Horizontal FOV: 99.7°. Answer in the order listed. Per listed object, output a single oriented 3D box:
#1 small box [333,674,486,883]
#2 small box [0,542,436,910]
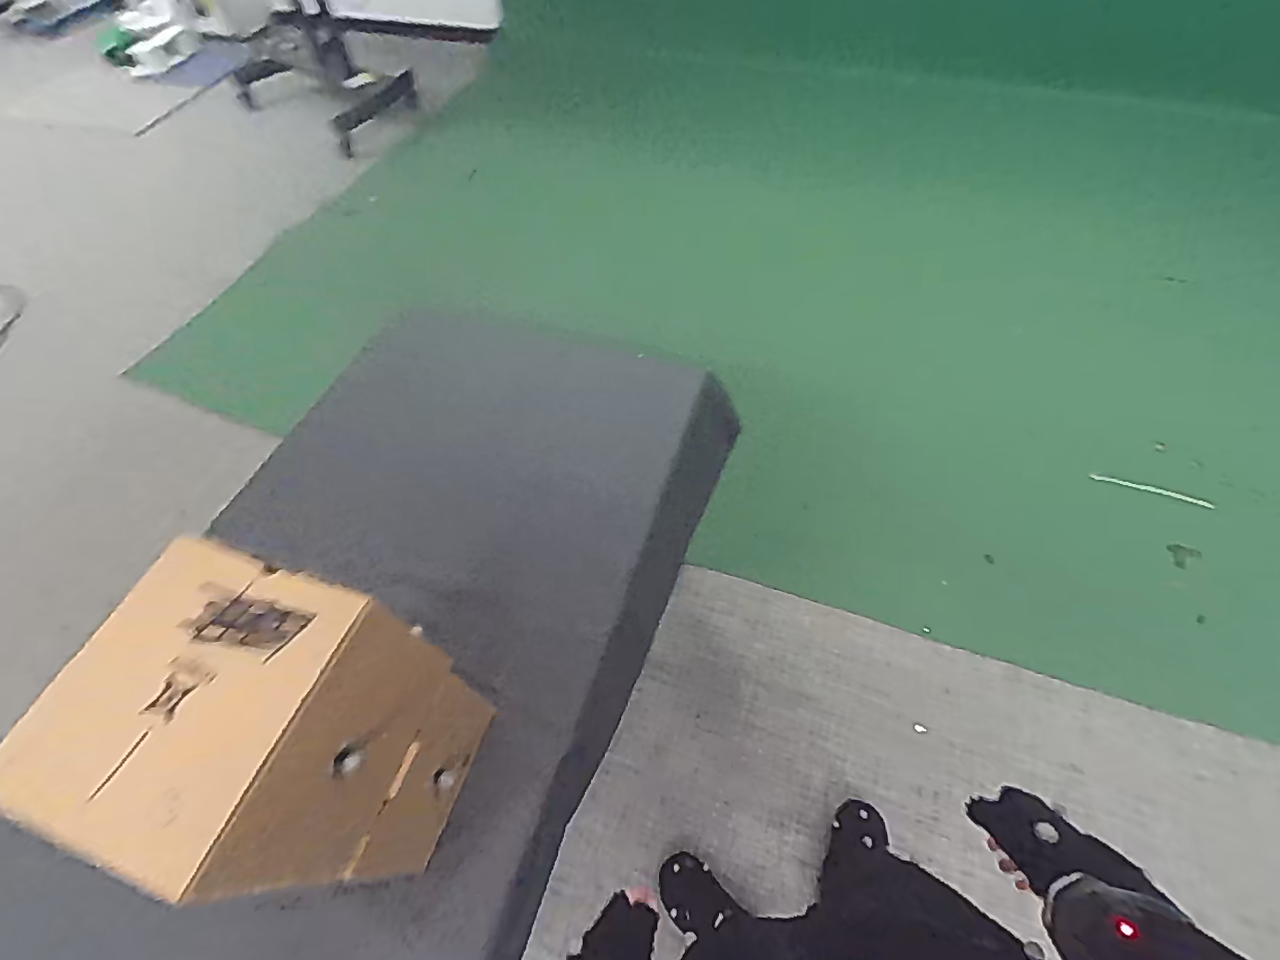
[{"bbox_3d":[-0.280,0.270,0.544,0.179,0.176,0.168,14,59,11],"label":"small box"},{"bbox_3d":[-0.281,0.177,0.408,0.168,0.176,0.179,15,60,12],"label":"small box"}]
